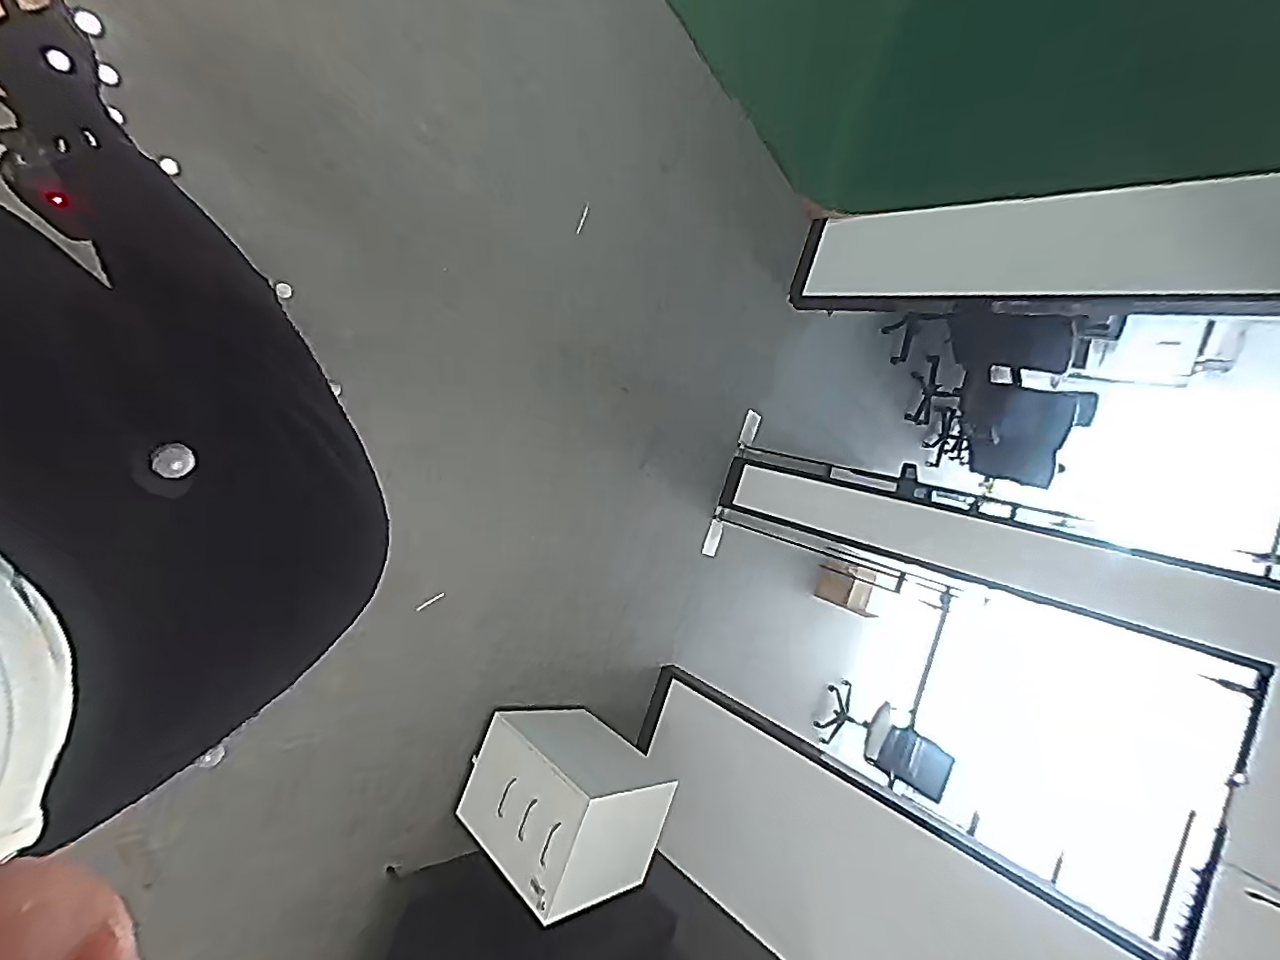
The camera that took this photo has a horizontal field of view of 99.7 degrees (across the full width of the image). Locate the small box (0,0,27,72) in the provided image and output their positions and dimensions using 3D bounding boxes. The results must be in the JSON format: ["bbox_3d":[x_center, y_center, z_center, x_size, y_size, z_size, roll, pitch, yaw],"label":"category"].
[{"bbox_3d":[-0.615,-0.465,0.420,0.179,0.176,0.168,-1,93,-42],"label":"small box"}]
